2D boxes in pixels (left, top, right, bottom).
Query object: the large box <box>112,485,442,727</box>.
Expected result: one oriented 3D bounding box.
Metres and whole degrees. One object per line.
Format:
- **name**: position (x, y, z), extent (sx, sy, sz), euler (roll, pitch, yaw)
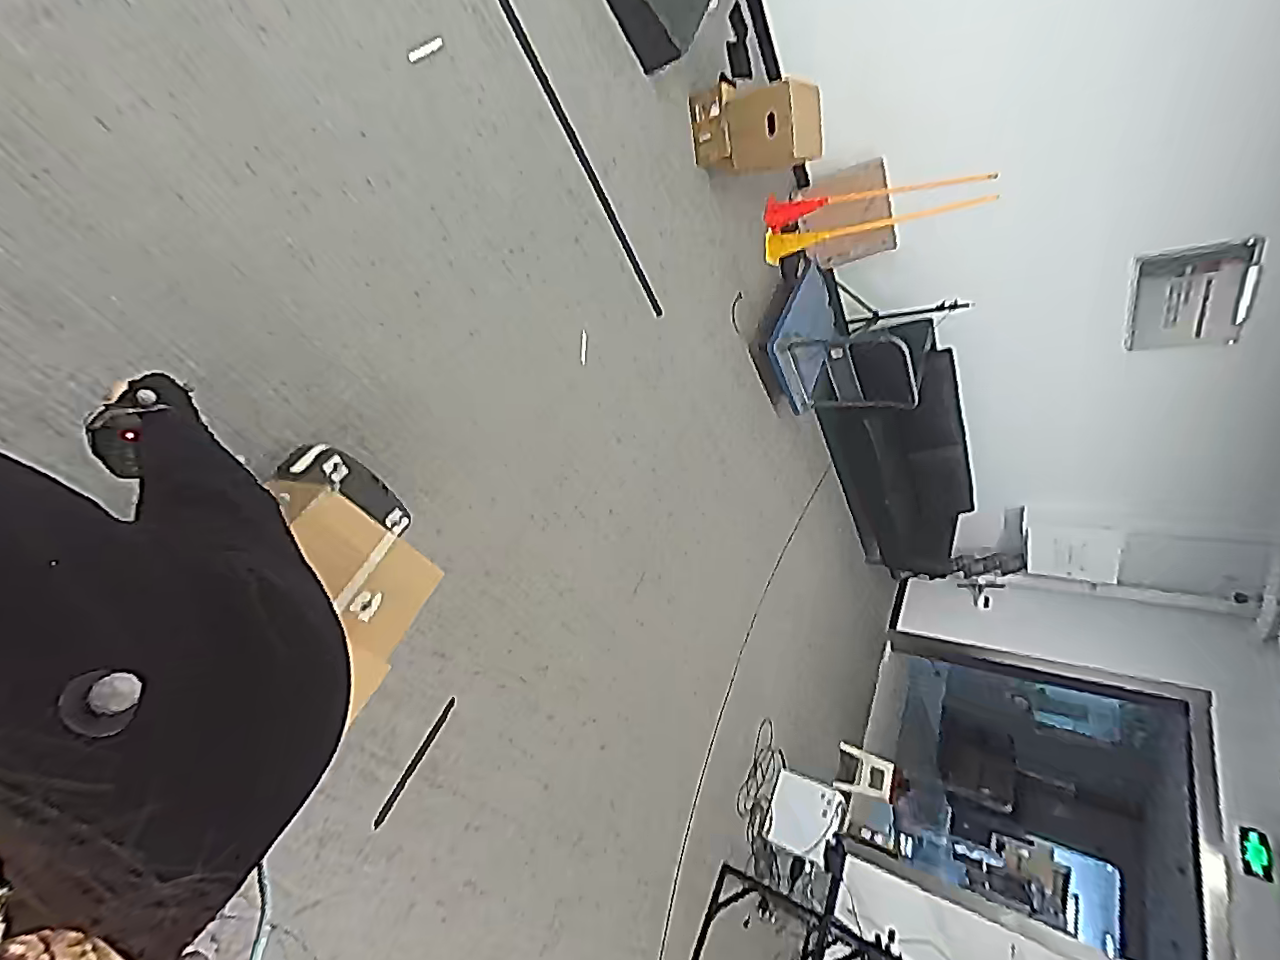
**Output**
- **large box**: position (-0.689, 0.258, 1.063), extent (0.320, 0.320, 0.408), euler (54, 51, -39)
